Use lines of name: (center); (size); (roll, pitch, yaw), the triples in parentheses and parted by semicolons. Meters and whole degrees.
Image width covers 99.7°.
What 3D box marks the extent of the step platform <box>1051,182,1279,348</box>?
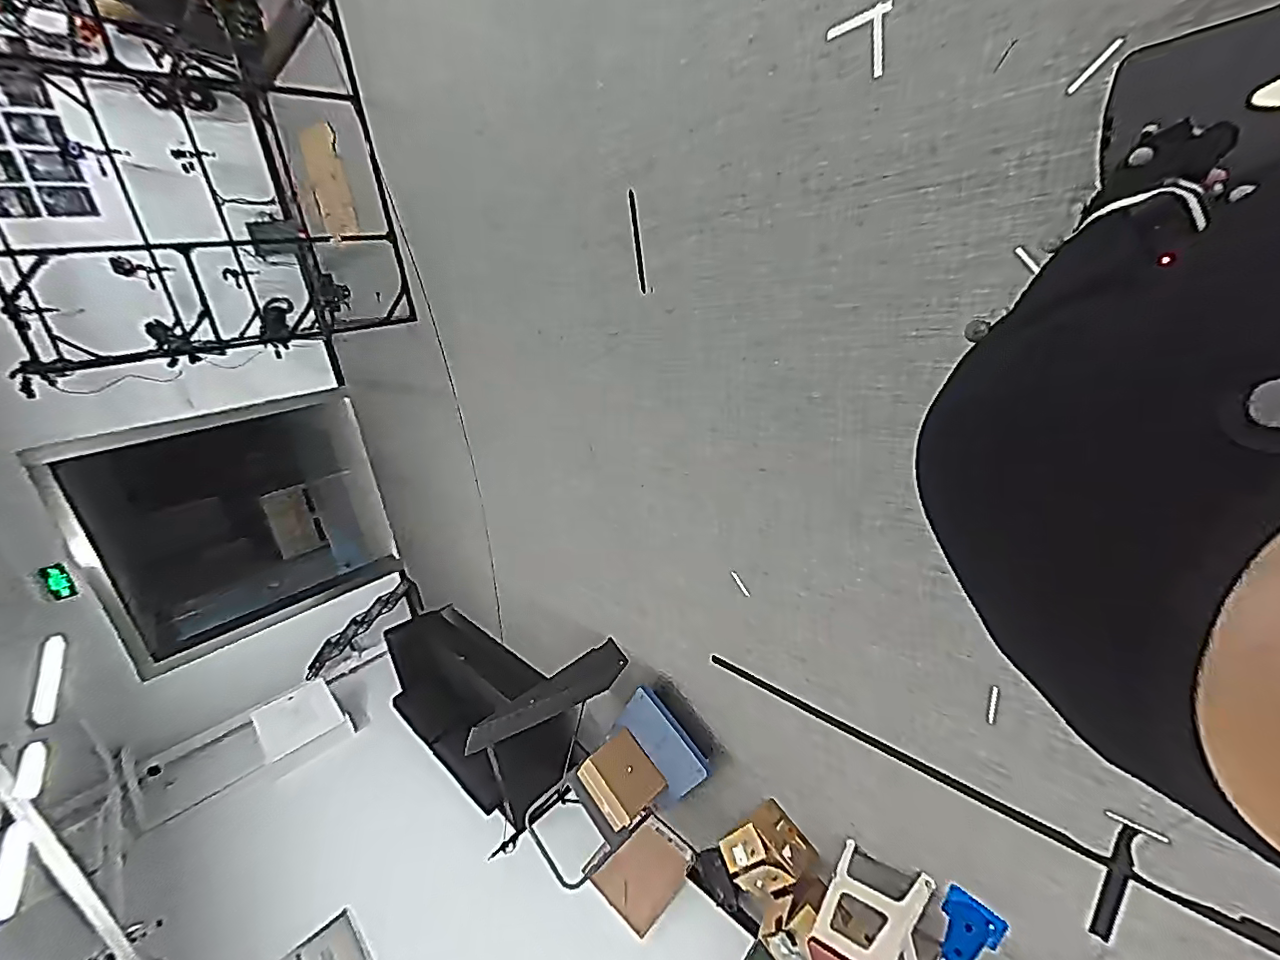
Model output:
step platform: (1.186, -0.397, 0.994); (0.684, 0.204, 0.286); (13, 119, 47)
